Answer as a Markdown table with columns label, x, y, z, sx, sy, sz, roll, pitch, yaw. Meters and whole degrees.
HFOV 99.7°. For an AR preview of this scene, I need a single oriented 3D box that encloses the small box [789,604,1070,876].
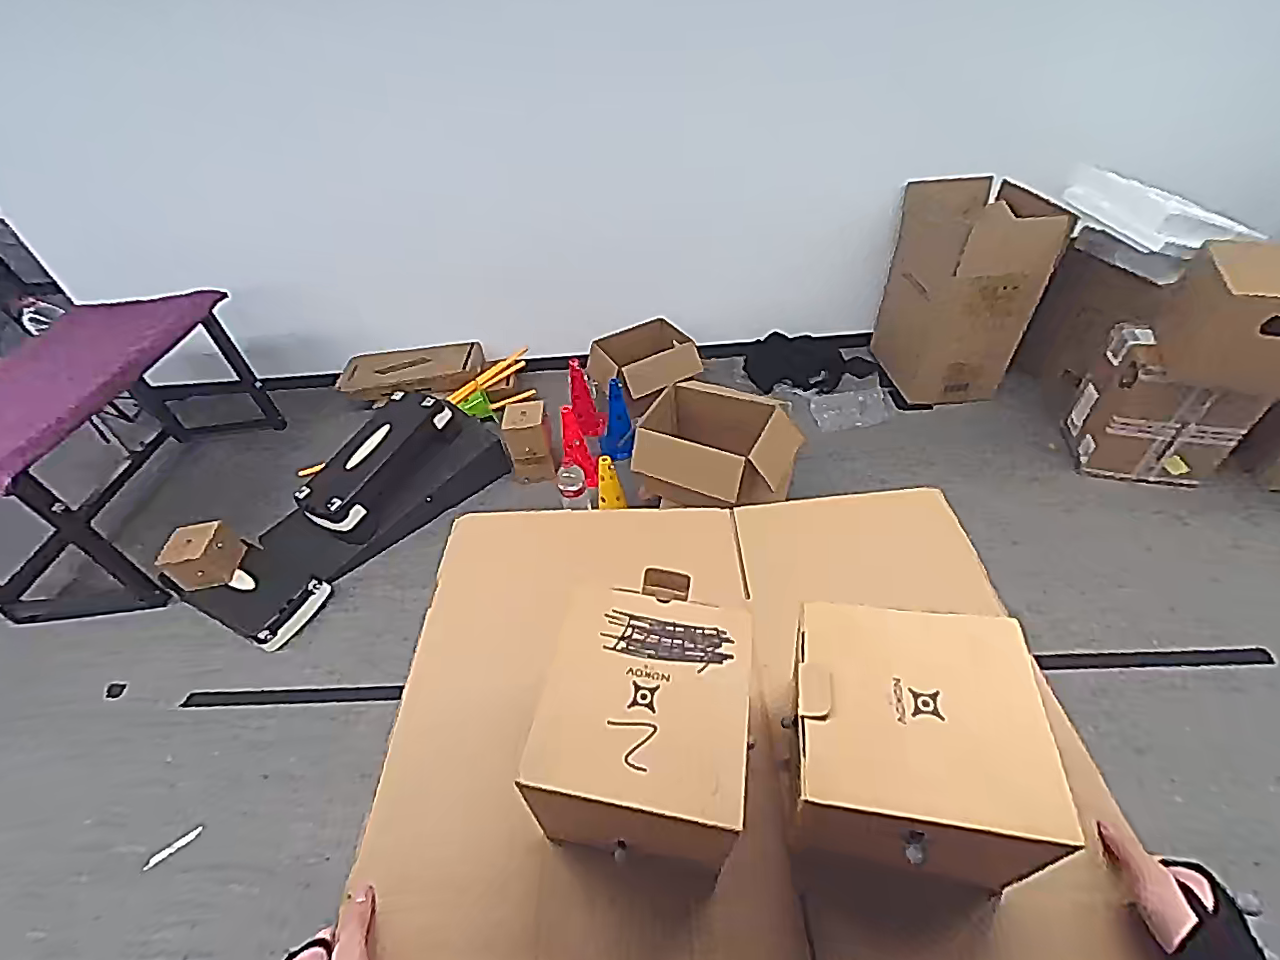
| label | x | y | z | sx | sy | sz | roll | pitch | yaw |
| --- | --- | --- | --- | --- | --- | --- | --- | --- | --- |
| small box | 0.229 | 0.233 | 0.485 | 0.179 | 0.176 | 0.168 | 1 | 47 | 15 |
